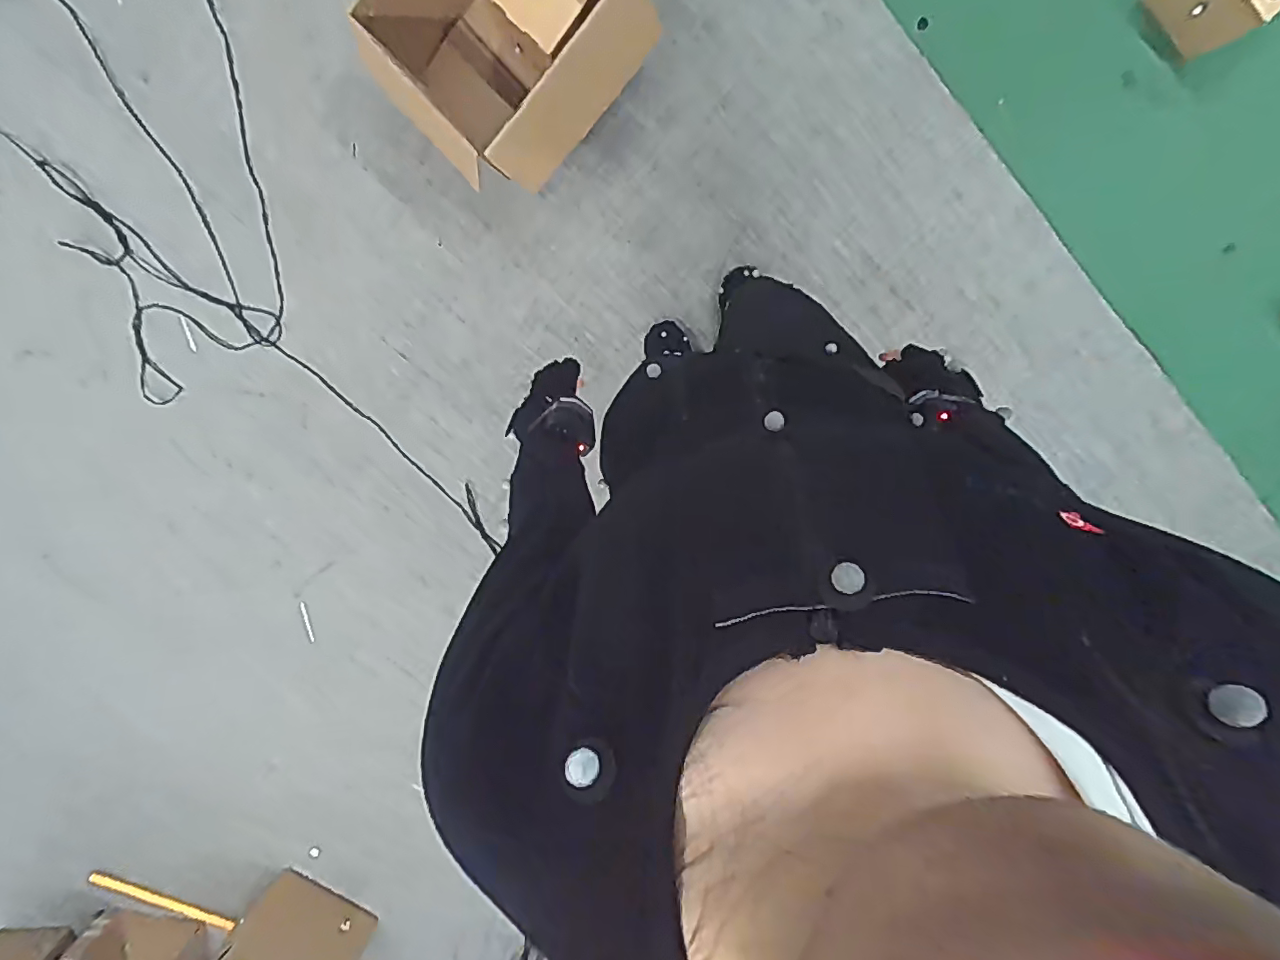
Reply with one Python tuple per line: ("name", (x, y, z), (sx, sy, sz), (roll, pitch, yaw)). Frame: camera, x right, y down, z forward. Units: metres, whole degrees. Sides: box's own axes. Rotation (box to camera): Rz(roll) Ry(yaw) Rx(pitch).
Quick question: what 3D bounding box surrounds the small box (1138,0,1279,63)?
("small box", (1.190, -0.995, 1.093), (0.179, 0.176, 0.168), (40, 104, -10))
